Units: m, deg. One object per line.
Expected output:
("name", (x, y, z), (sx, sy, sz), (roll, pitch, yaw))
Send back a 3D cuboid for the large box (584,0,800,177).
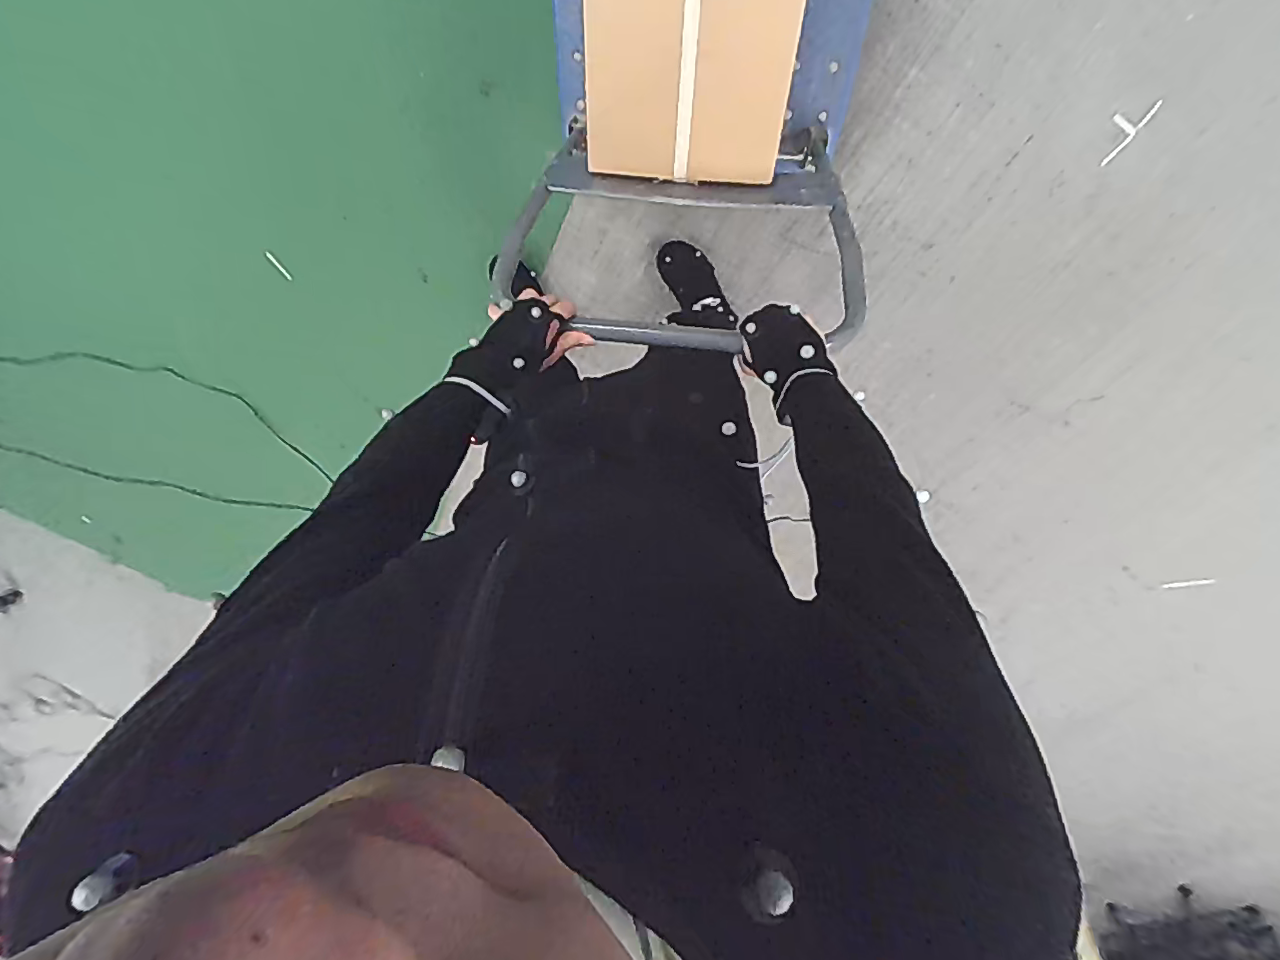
("large box", (0.090, -0.767, 0.894), (0.320, 0.320, 0.408), (6, 134, 3))
